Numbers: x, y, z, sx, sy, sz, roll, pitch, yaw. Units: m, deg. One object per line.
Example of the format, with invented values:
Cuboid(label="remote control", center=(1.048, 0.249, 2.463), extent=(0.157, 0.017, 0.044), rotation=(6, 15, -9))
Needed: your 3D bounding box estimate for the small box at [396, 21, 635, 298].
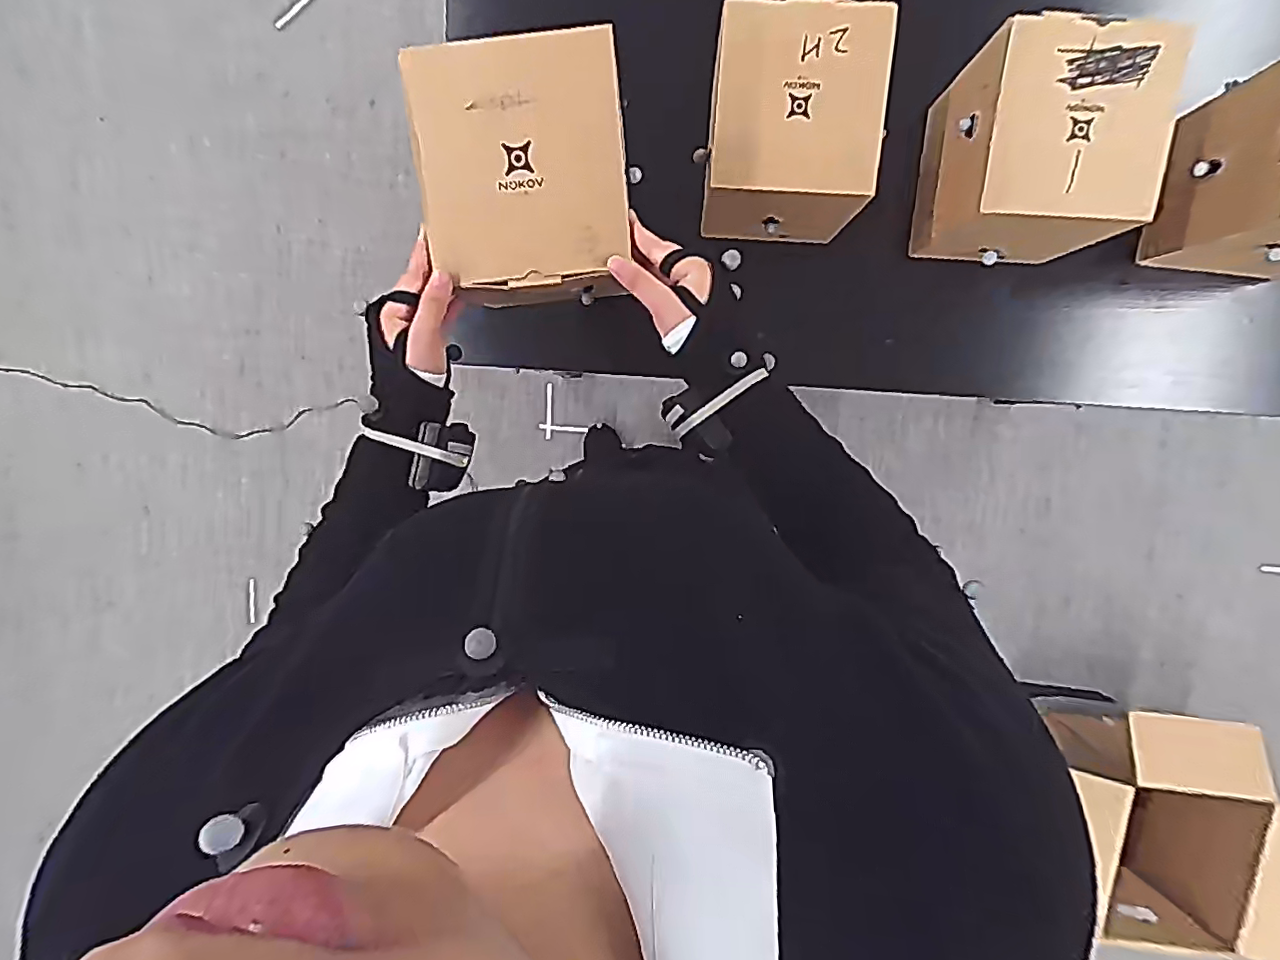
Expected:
Cuboid(label="small box", center=(-0.094, -0.268, 0.499), extent=(0.168, 0.176, 0.179), rotation=(-5, 103, 1))

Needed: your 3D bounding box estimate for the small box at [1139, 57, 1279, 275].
Cuboid(label="small box", center=(0.703, -0.329, 0.580), extent=(0.179, 0.176, 0.168), rotation=(7, 98, 4))

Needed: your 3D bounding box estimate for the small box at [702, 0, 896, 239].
Cuboid(label="small box", center=(0.161, -0.385, 0.606), extent=(0.168, 0.176, 0.179), rotation=(4, 98, 3))

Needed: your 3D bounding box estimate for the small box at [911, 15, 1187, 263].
Cuboid(label="small box", center=(0.424, -0.355, 0.595), extent=(0.168, 0.176, 0.179), rotation=(5, 99, 3))
